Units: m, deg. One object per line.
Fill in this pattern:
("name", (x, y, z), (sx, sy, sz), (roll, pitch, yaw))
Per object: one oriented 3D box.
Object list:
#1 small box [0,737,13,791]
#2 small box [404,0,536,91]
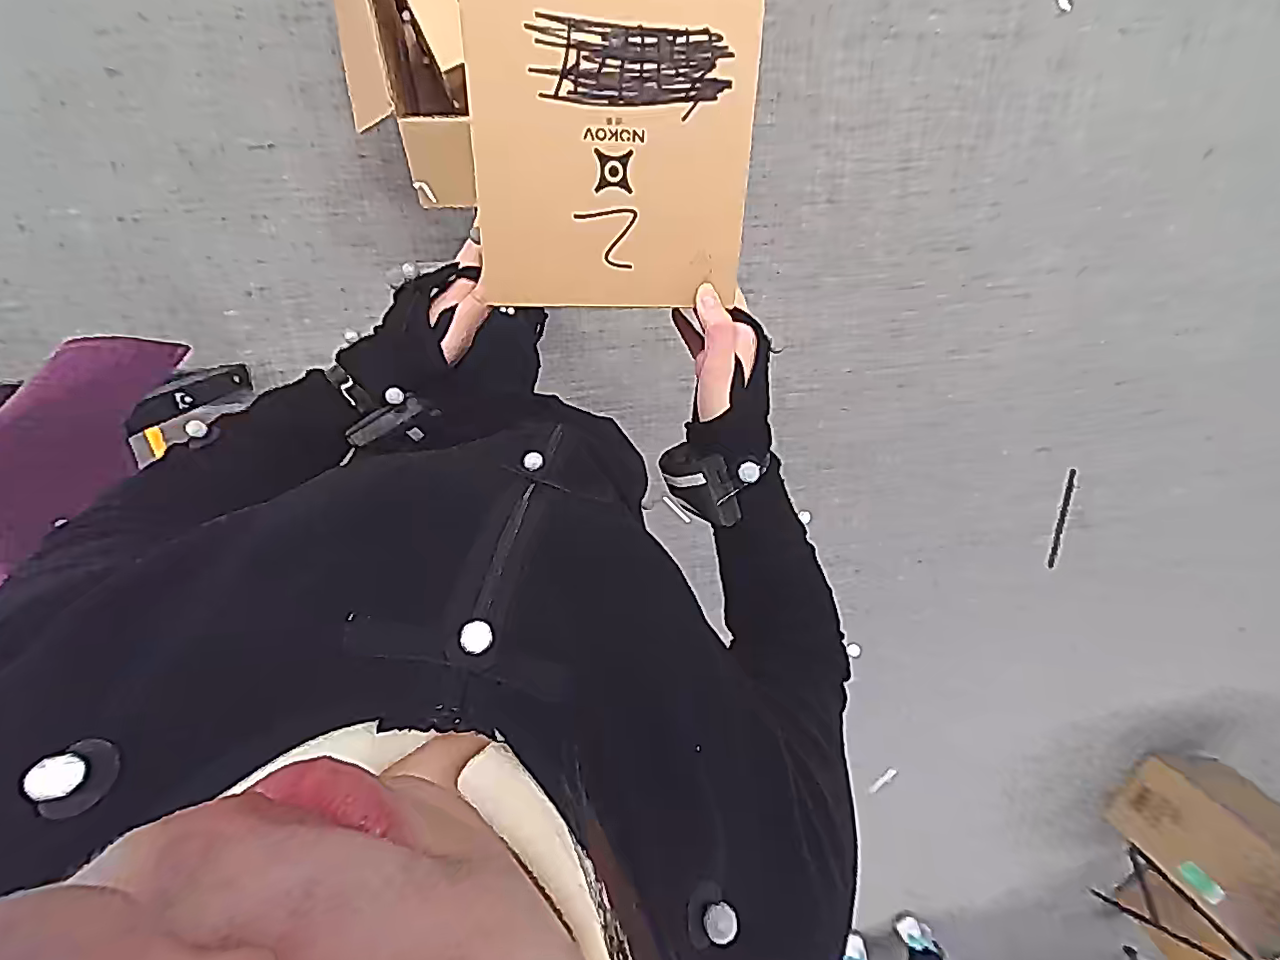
("small box", (-0.928, 0.369, 0.643), (0.179, 0.176, 0.168), (-2, 112, -9))
("small box", (-0.291, -0.790, 0.900), (0.179, 0.176, 0.168), (-28, 116, -4))
